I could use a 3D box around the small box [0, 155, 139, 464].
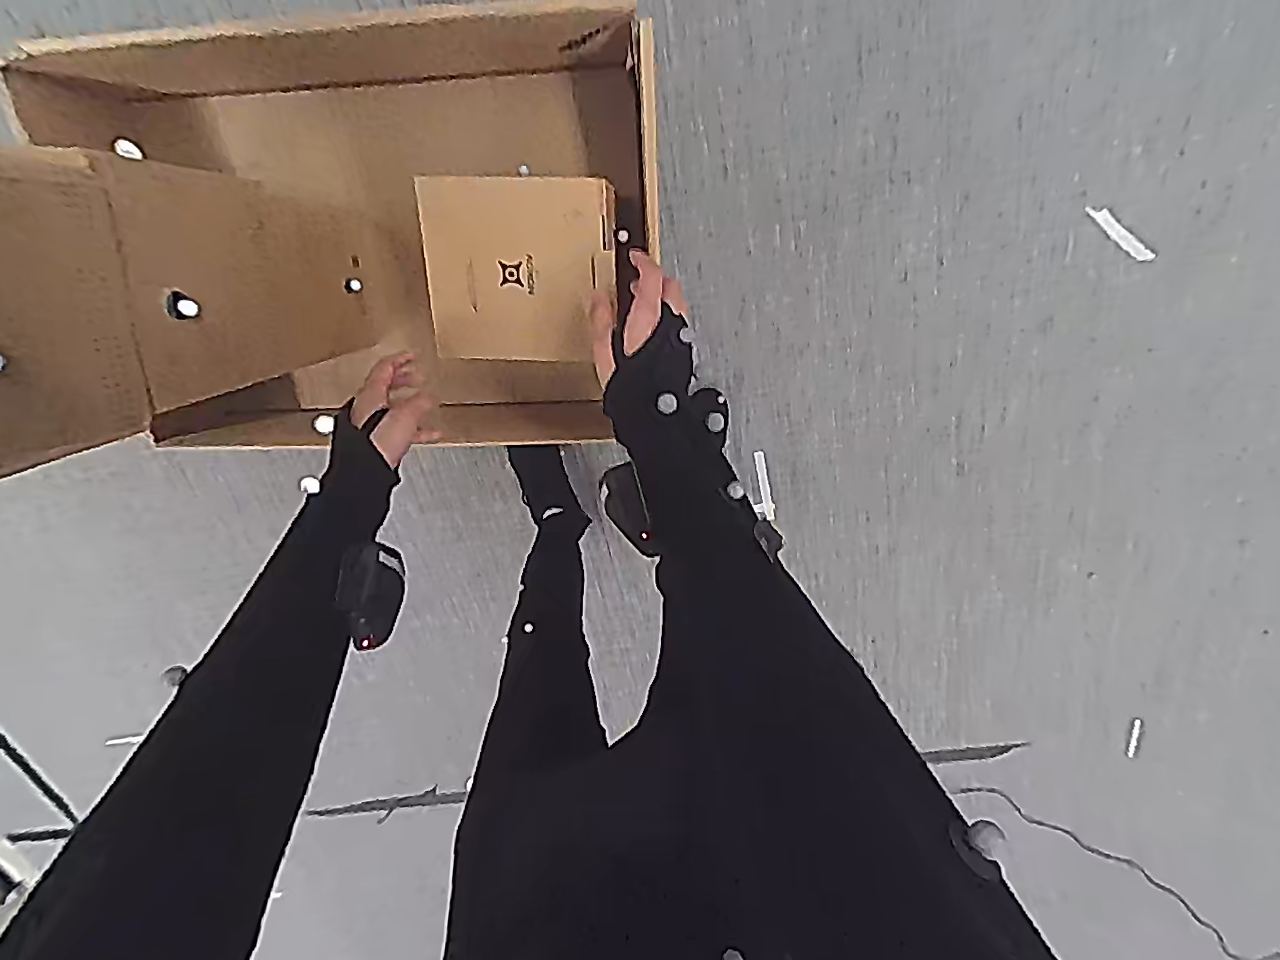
[{"bbox_3d":[-0.445,-0.100,0.307,0.168,0.176,0.179,9,114,-1],"label":"small box"}]

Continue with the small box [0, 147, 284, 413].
[{"bbox_3d":[-0.438,-0.170,0.456,0.168,0.176,0.179,6,112,1],"label":"small box"}]
